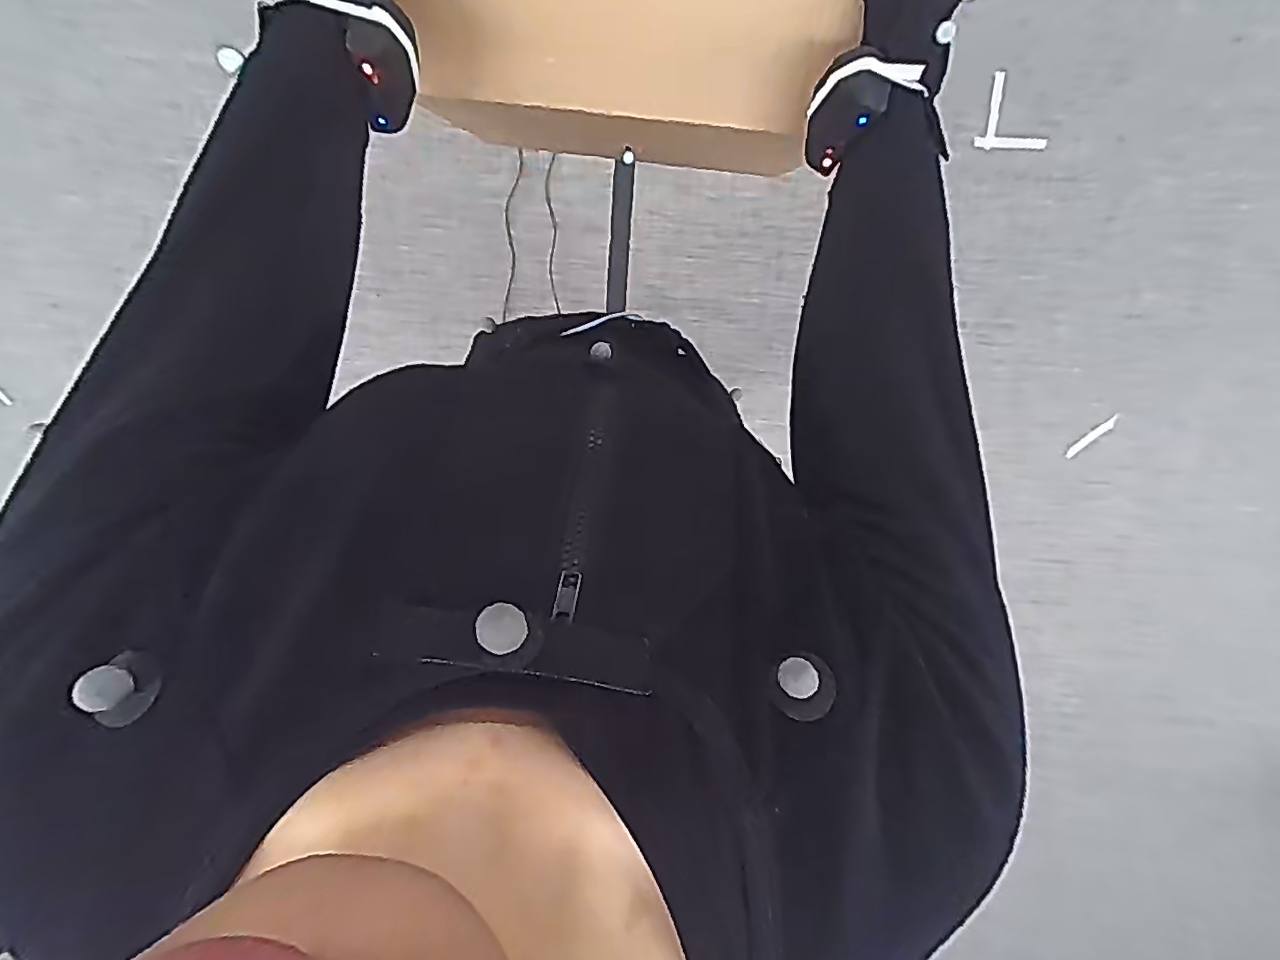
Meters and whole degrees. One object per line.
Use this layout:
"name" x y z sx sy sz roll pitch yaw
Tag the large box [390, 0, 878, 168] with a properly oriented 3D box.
"large box" 0.006 -0.518 0.543 0.408 0.320 0.320 6 114 -1
